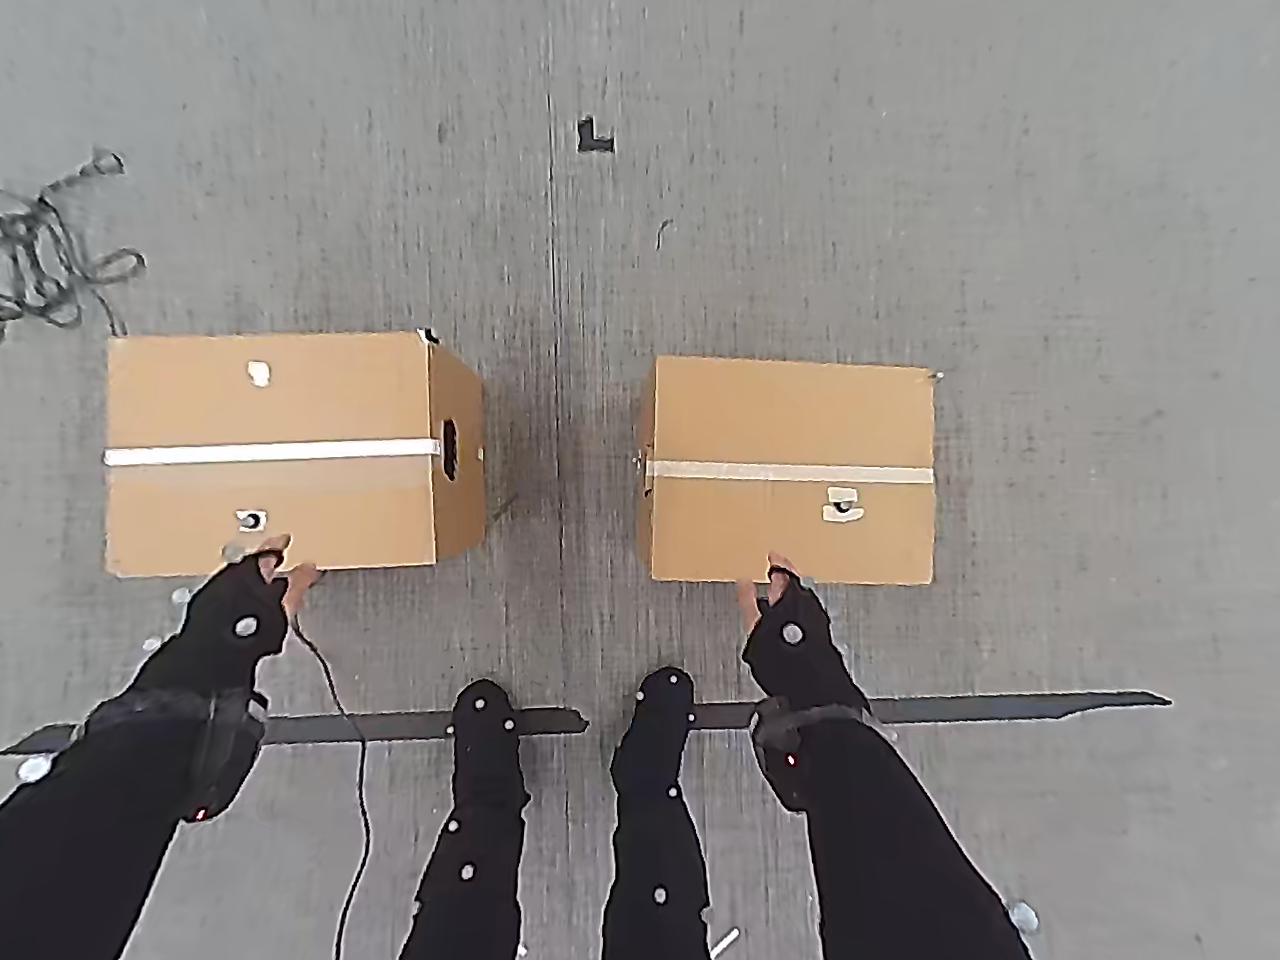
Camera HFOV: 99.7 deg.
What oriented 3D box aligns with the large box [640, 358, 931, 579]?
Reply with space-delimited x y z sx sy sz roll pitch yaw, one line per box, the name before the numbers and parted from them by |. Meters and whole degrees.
large box | 0.210 -0.009 0.919 0.408 0.320 0.320 2 89 -5
